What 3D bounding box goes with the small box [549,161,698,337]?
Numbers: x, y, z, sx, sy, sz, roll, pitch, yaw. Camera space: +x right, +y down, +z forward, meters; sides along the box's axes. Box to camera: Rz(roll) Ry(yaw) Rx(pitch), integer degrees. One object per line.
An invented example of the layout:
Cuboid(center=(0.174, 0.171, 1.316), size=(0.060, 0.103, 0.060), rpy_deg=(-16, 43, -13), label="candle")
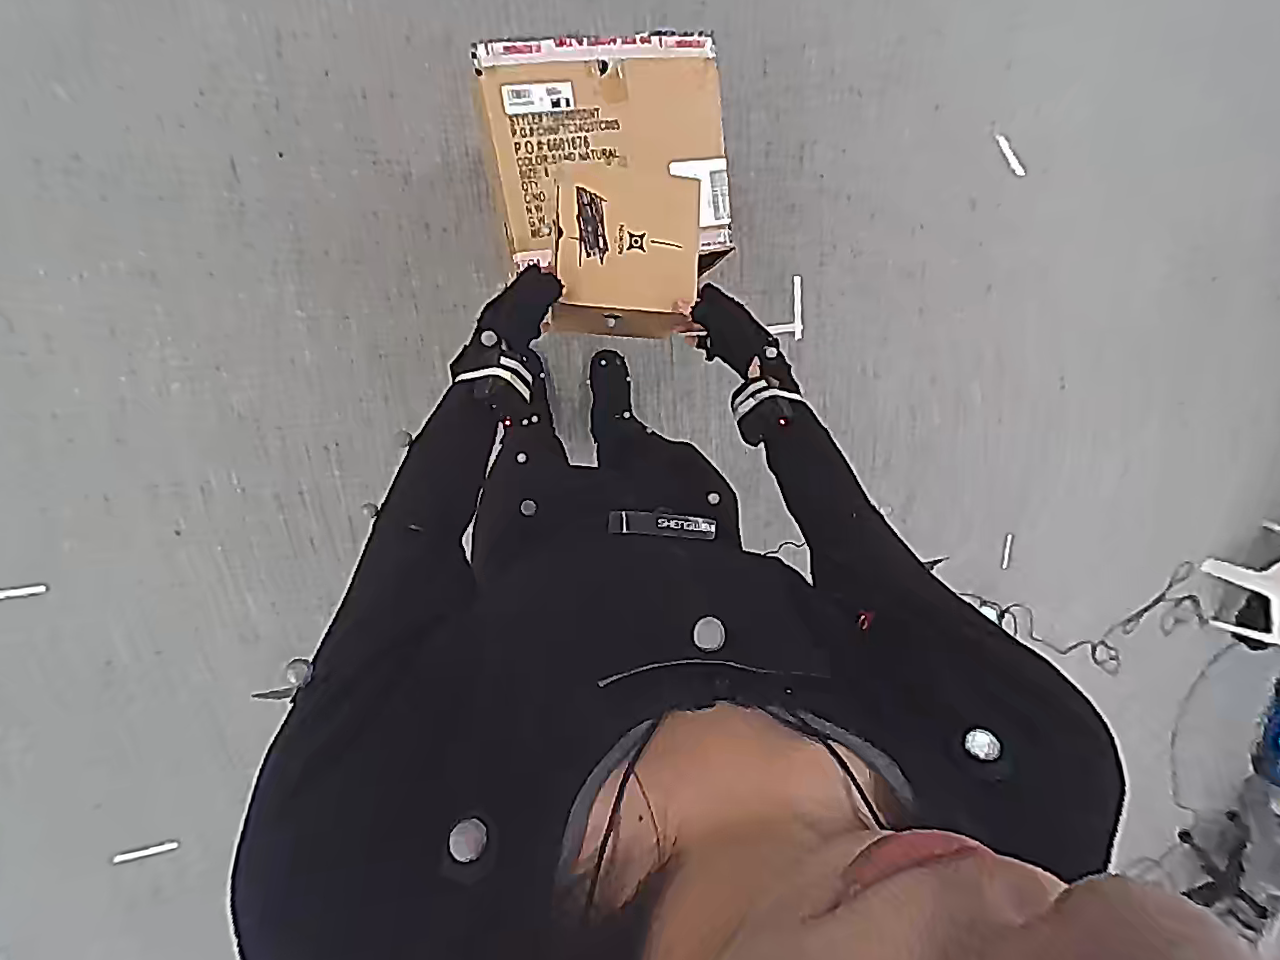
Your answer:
Cuboid(center=(-0.032, -0.293, 0.725), size=(0.179, 0.176, 0.168), rpy_deg=(0, 94, -12), label="small box")
